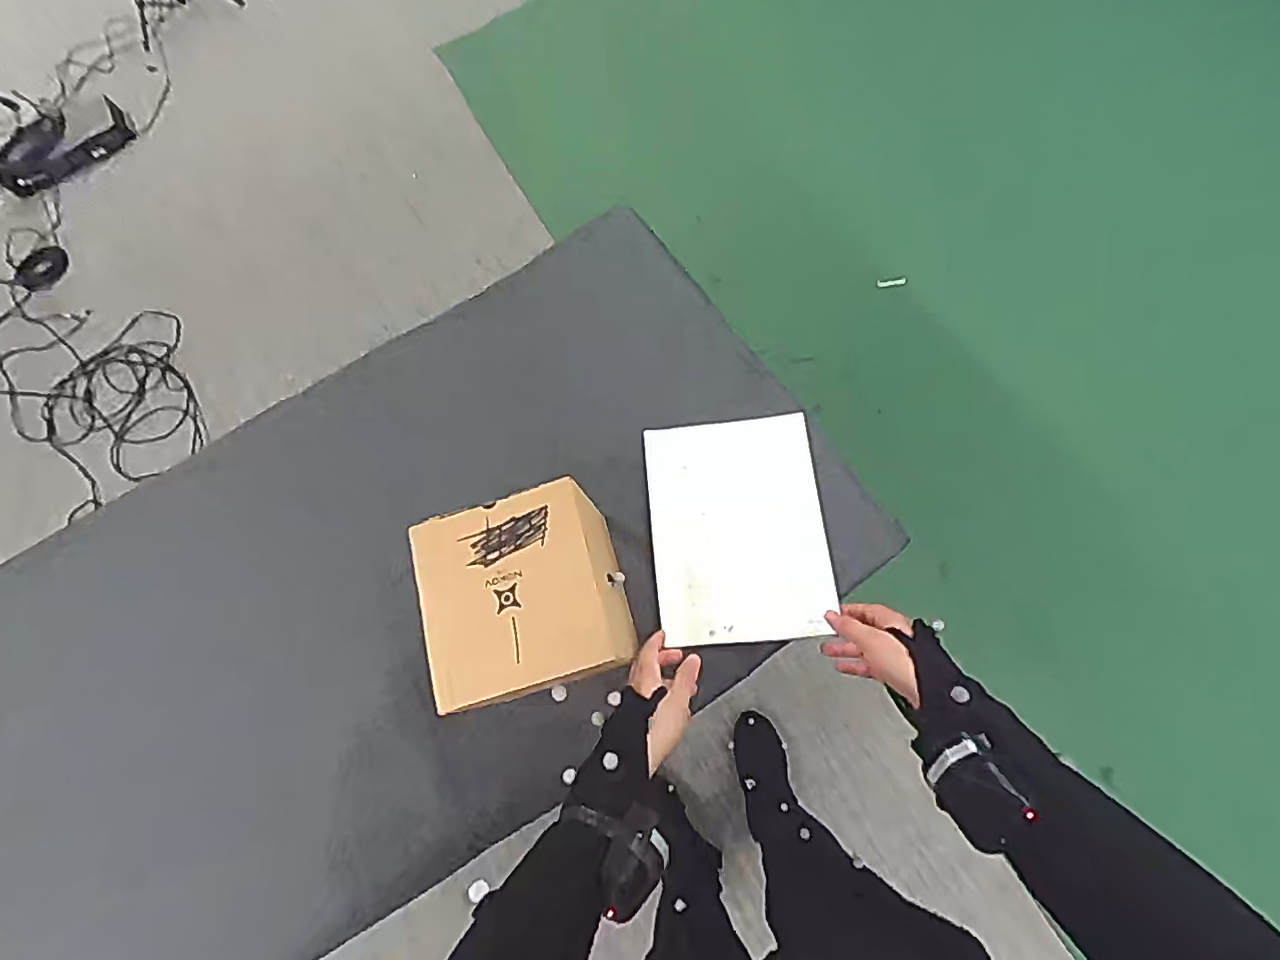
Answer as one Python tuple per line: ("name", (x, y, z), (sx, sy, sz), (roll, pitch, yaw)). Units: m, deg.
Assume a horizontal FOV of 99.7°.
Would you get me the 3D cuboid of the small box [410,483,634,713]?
("small box", (-0.113, 0.127, 0.570), (0.168, 0.176, 0.179), (-18, 72, 3))
